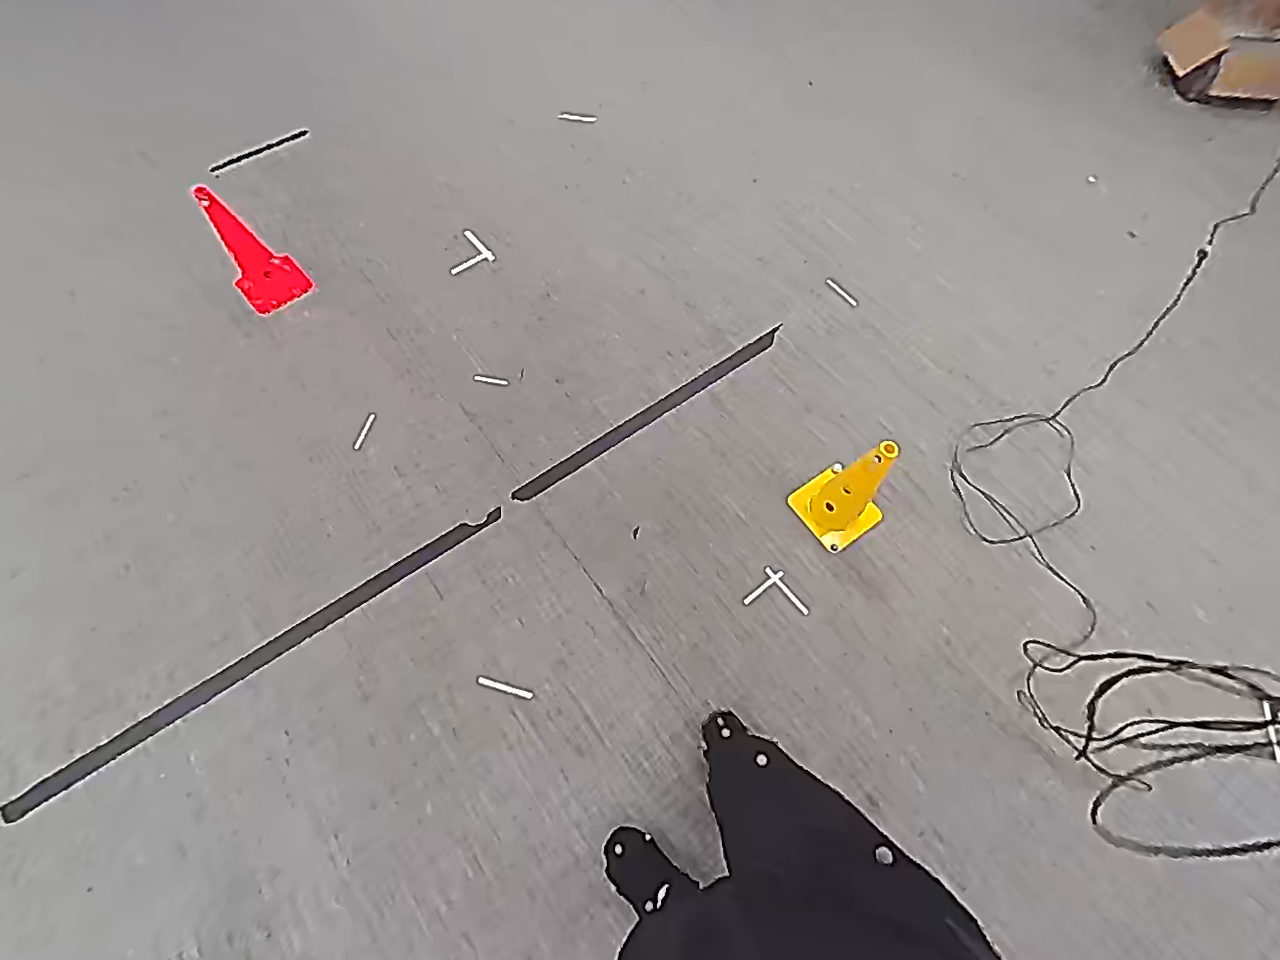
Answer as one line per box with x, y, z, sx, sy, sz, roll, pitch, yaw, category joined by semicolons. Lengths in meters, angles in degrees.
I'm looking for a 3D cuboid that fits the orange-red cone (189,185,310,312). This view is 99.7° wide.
-1.231;-0.729;1.655;0.199;0.360;0.198;-39;71;-15;orange-red cone
